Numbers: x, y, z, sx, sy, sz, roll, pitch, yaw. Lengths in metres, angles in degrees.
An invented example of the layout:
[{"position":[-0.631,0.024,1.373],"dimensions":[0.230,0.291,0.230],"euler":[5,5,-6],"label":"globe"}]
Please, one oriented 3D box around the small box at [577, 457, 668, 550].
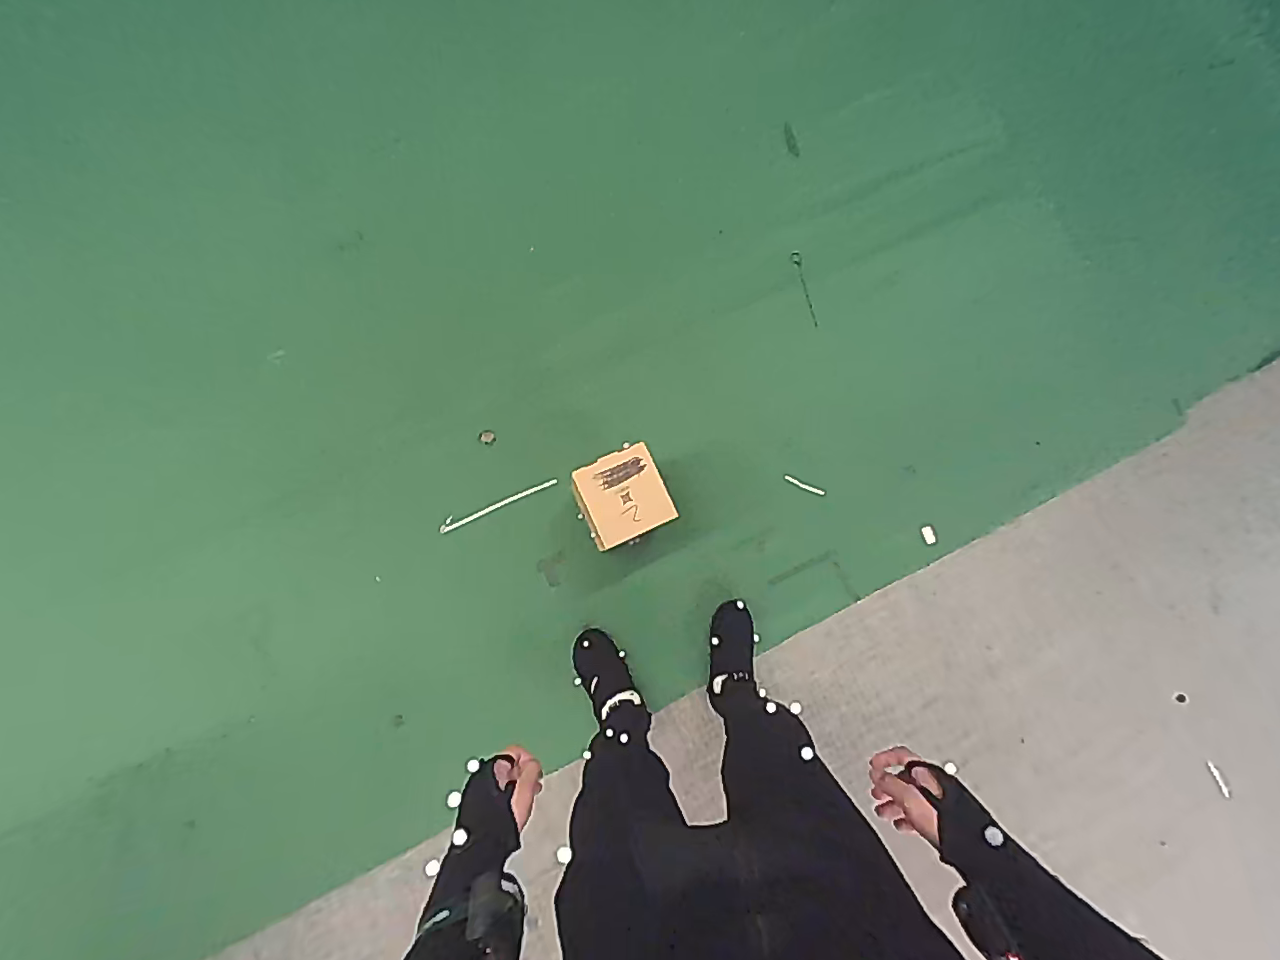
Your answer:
[{"position":[-0.050,0.065,1.341],"dimensions":[0.168,0.176,0.179],"euler":[-23,85,-8],"label":"small box"}]
